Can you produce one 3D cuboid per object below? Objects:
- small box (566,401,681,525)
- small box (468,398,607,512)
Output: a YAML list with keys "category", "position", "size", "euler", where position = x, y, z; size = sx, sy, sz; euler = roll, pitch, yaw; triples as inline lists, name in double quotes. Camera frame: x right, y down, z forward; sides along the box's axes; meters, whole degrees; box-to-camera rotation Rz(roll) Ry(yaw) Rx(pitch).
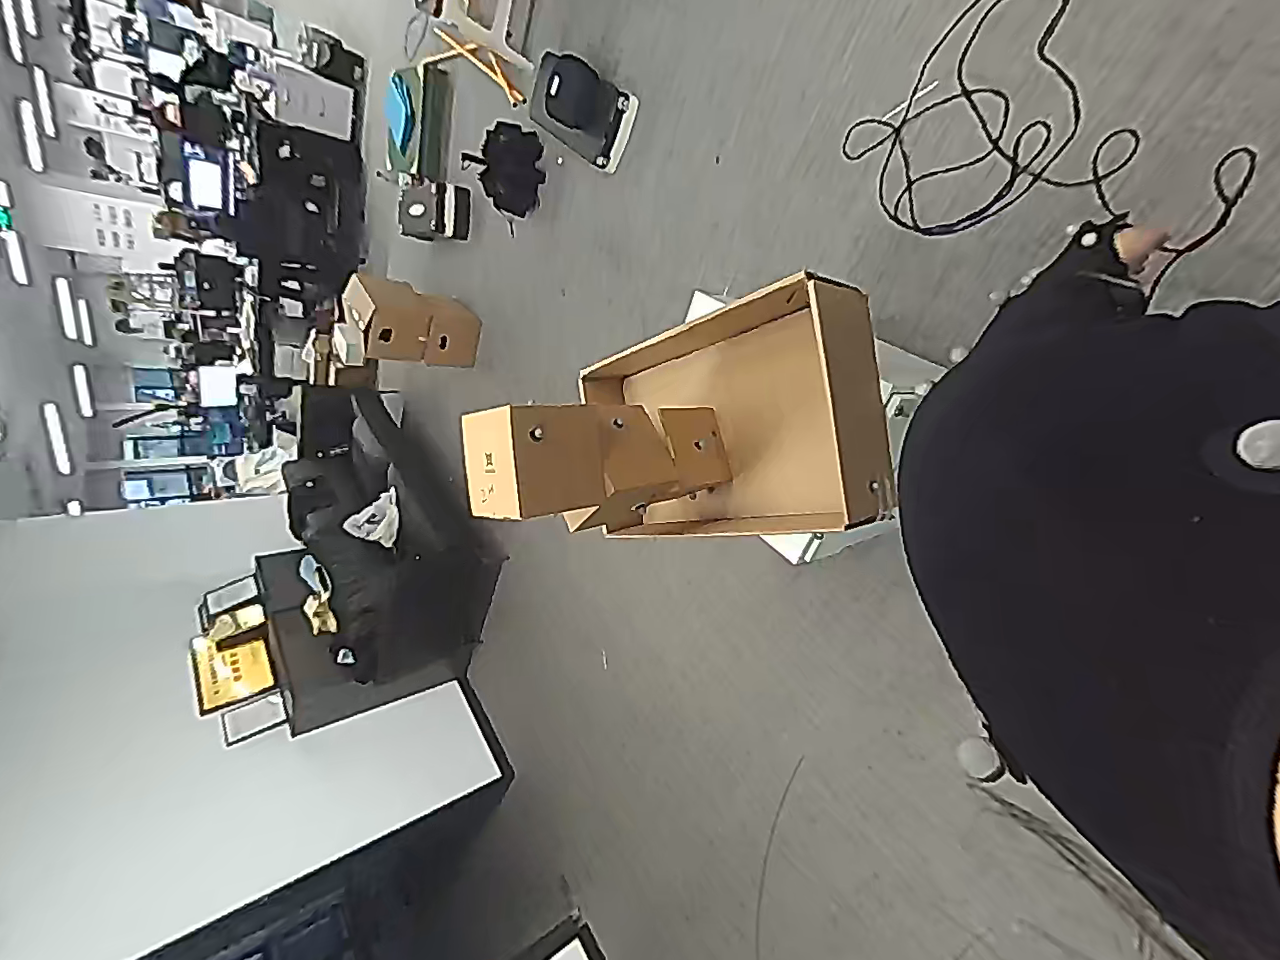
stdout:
- category: "small box"
  position: [-0.055, -0.036, 1.047]
  size: [0.168, 0.176, 0.179]
  euler: [-44, 66, 43]
- category: "small box"
  position: [-0.174, -0.046, 0.930]
  size: [0.168, 0.176, 0.179]
  euler: [0, 97, 48]
